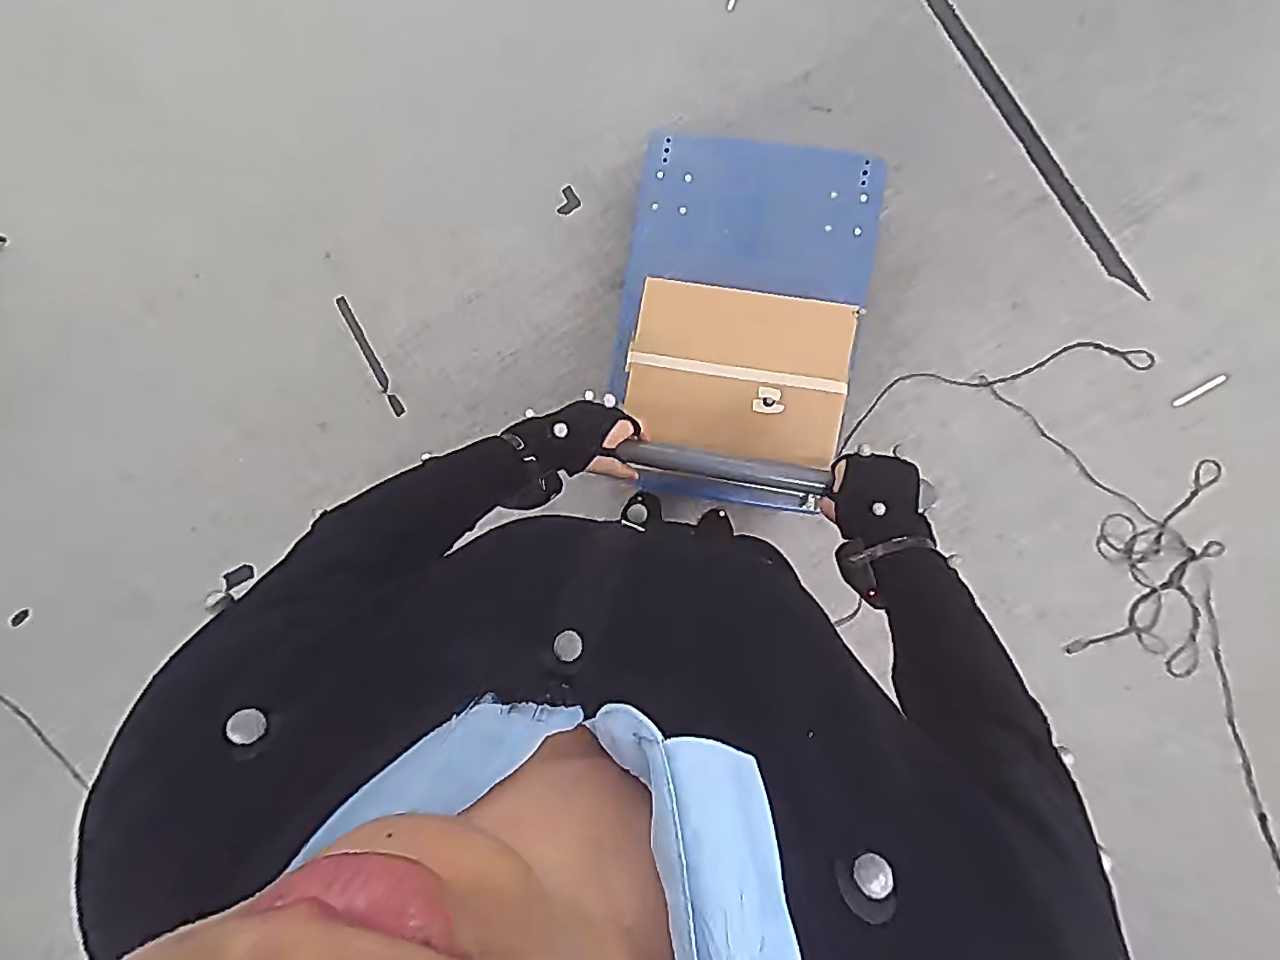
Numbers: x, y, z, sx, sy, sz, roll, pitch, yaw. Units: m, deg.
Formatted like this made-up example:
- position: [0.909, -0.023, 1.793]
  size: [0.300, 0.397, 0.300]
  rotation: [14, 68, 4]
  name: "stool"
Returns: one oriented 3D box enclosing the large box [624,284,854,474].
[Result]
- position: [0.192, -0.196, 1.174]
  size: [0.408, 0.320, 0.320]
  rotation: [9, 91, 4]
  name: "large box"
